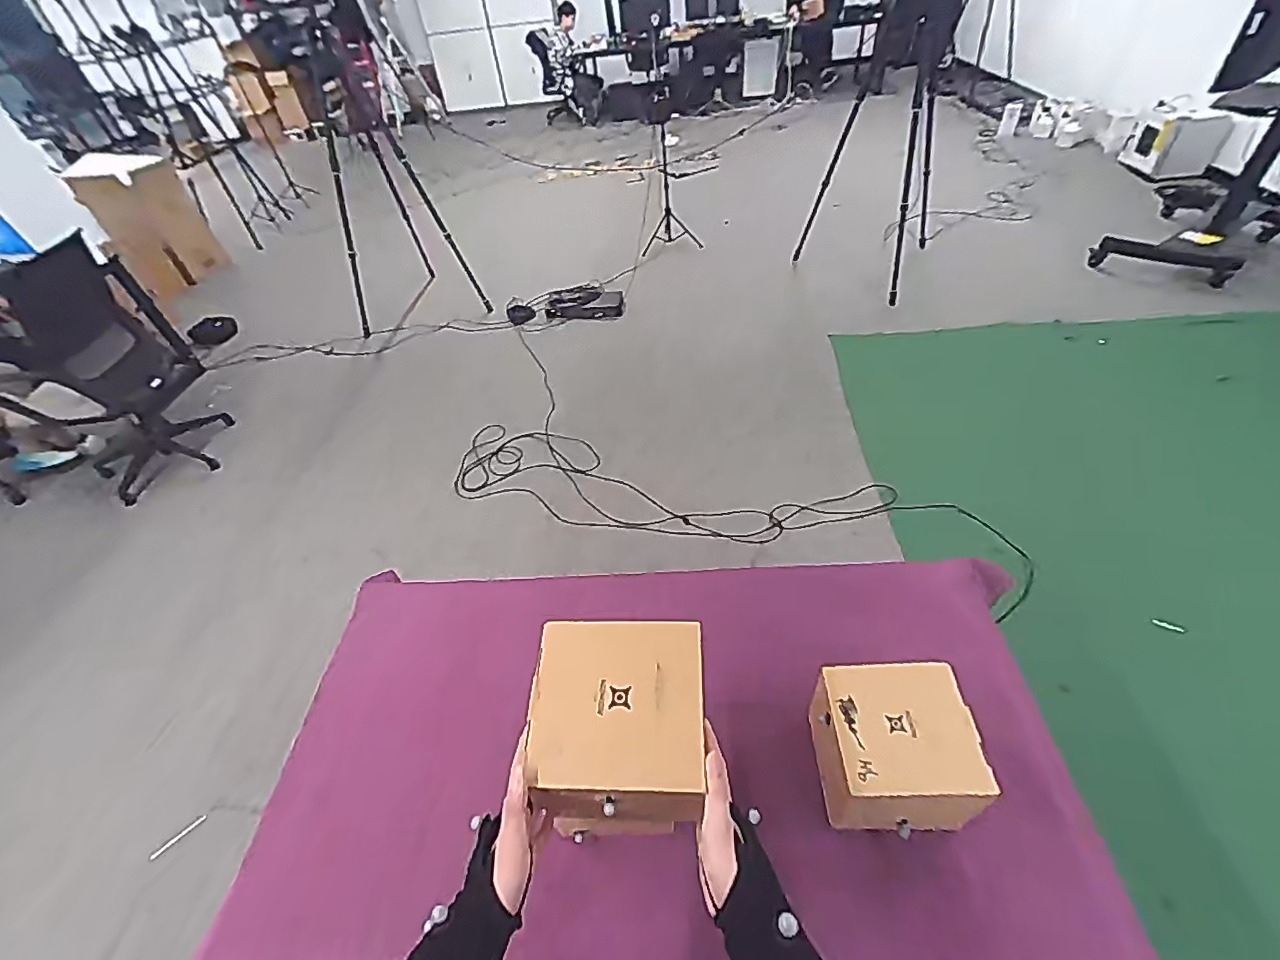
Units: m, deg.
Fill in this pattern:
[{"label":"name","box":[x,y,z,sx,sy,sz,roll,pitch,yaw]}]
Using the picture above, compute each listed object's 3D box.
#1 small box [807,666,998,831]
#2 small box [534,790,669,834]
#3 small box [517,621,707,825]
[{"label":"small box","box":[0.345,0.374,0.752,0.179,0.176,0.168,-3,45,5]},{"label":"small box","box":[-0.044,0.396,0.781,0.168,0.176,0.179,-4,44,3]},{"label":"small box","box":[-0.016,0.270,0.596,0.179,0.176,0.168,0,50,5]}]
